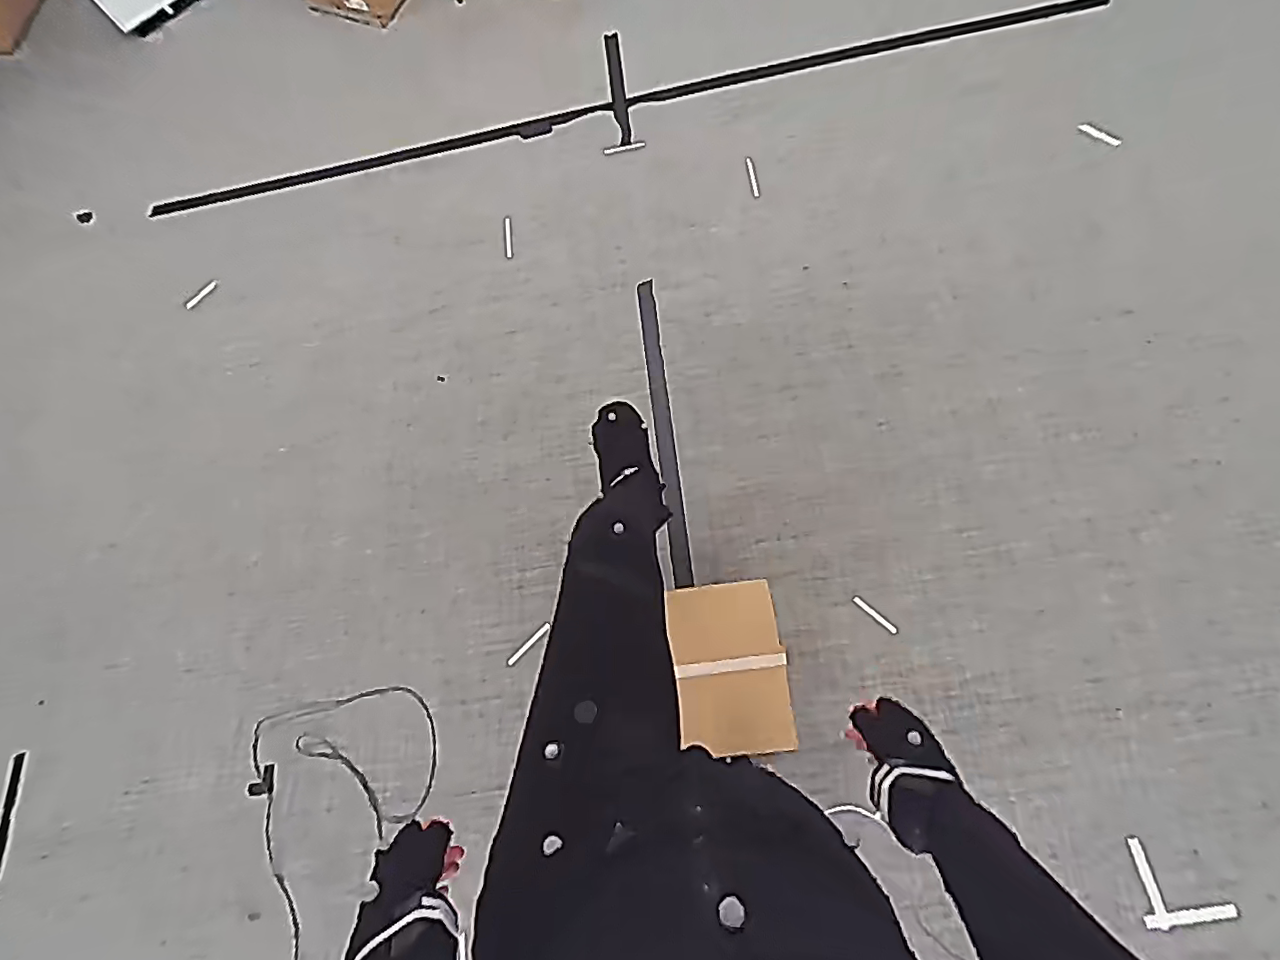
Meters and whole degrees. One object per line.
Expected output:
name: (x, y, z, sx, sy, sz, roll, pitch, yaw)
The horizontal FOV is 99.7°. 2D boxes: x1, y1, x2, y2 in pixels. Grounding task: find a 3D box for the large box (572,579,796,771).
large box: (0.095, 0.415, 1.196, 0.408, 0.320, 0.320, -9, 73, 5)
